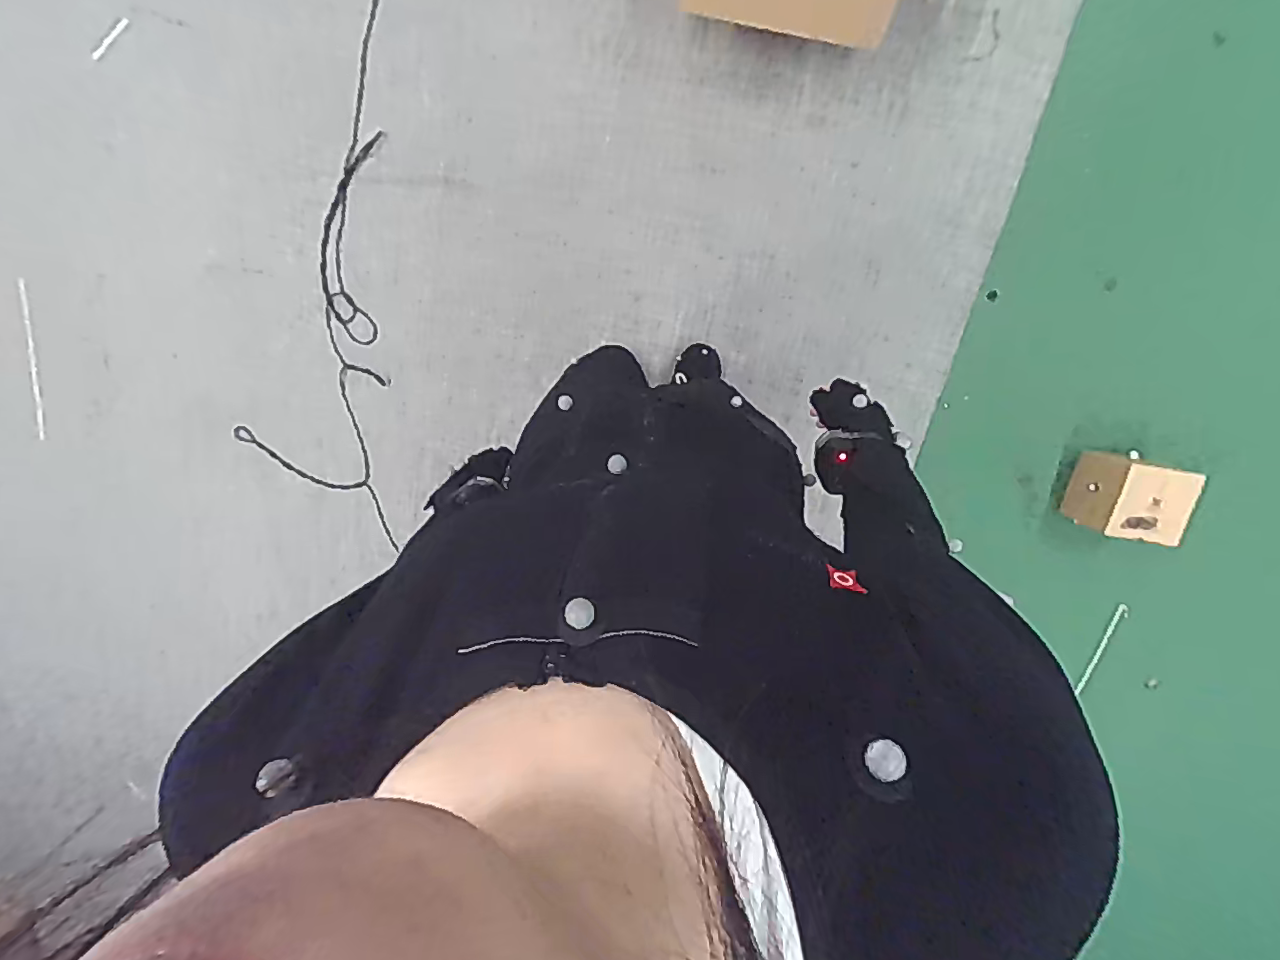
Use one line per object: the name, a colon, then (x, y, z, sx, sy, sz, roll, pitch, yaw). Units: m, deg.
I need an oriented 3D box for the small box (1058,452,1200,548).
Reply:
small box: (1.169, 0.042, 1.313, 0.168, 0.176, 0.179, 10, 105, 2)
